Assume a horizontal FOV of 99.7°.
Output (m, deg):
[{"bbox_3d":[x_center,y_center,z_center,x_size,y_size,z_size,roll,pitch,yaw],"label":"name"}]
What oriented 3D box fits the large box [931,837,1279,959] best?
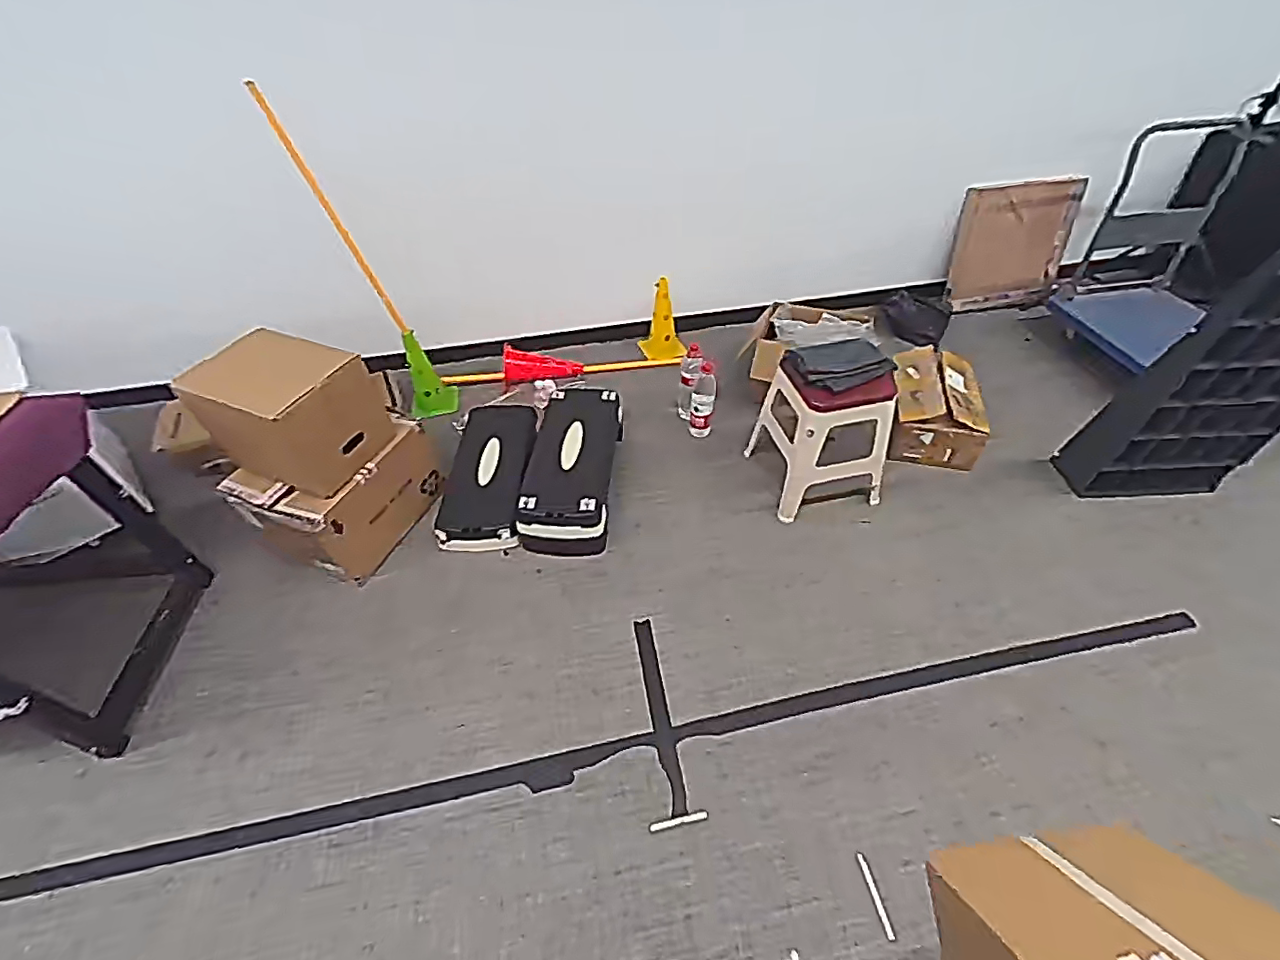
[{"bbox_3d":[0.599,0.675,0.596,0.320,0.408,0.320,-7,83,-1],"label":"large box"}]
